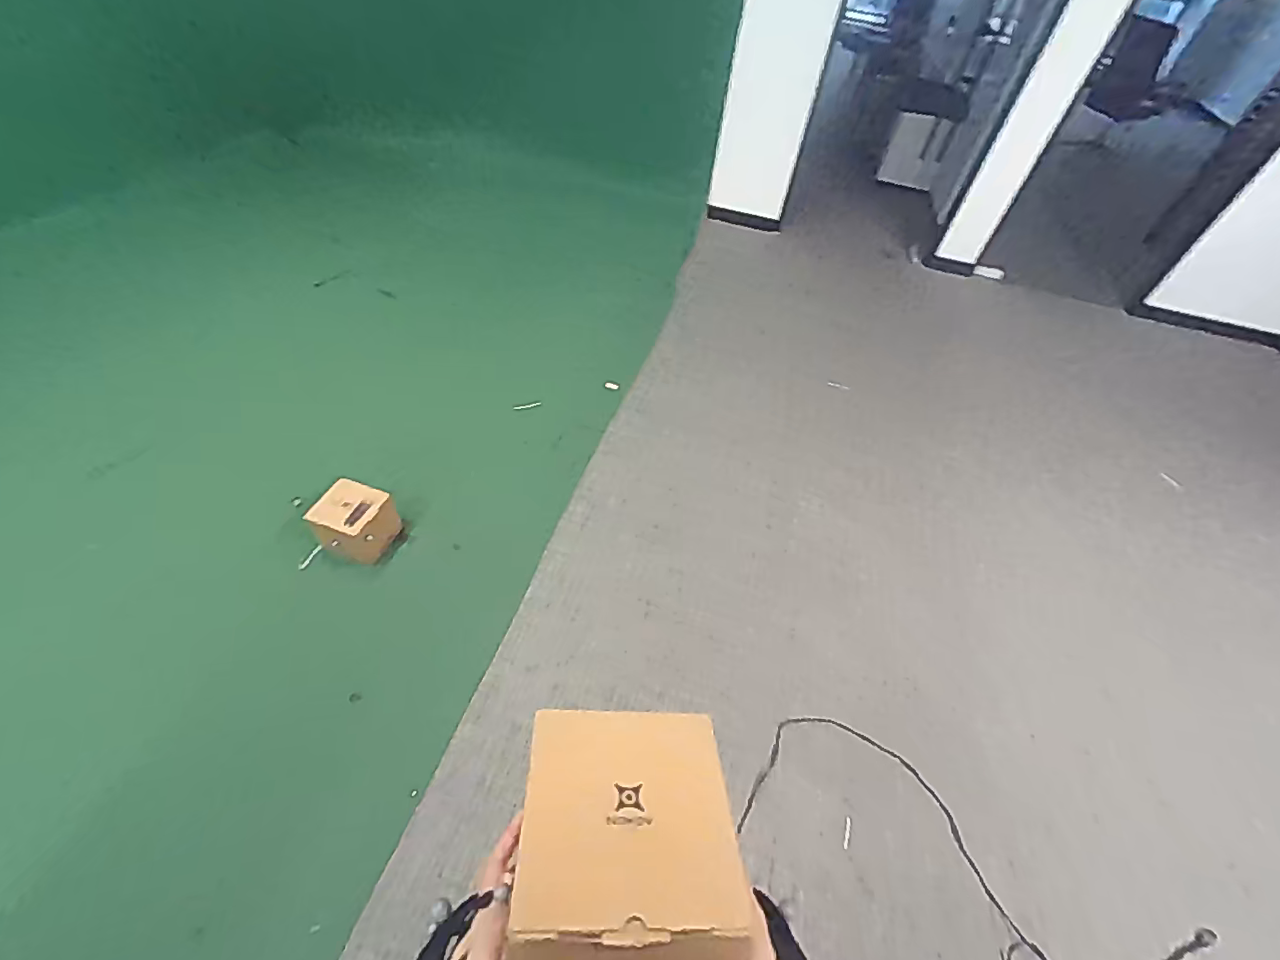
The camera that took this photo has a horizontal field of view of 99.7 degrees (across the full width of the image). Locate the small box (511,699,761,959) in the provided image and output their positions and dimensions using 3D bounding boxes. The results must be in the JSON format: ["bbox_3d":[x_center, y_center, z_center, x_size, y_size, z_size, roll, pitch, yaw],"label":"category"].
[{"bbox_3d":[-0.015,0.318,0.460,0.168,0.176,0.179,5,27,-6],"label":"small box"}]
